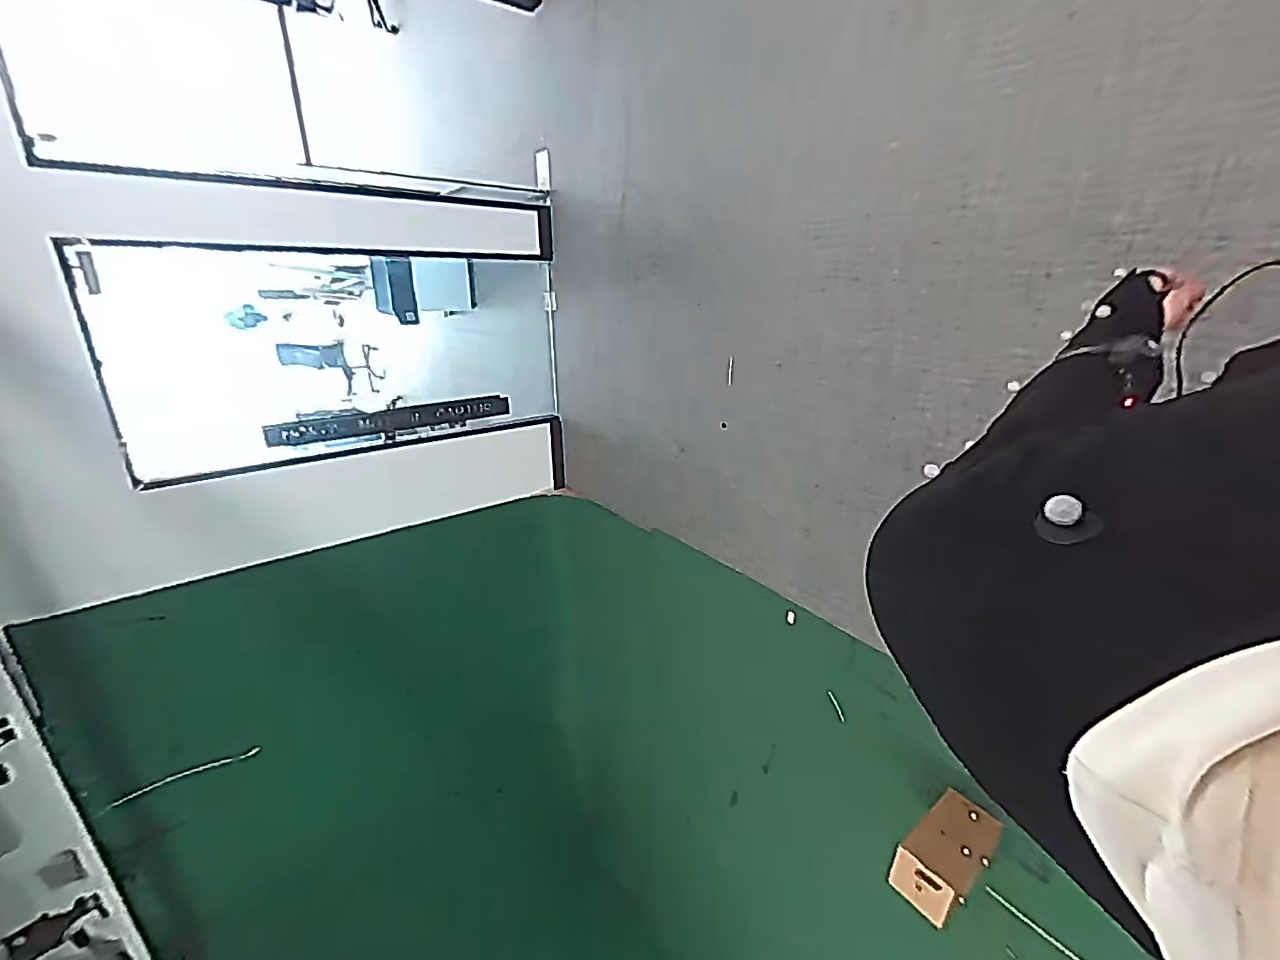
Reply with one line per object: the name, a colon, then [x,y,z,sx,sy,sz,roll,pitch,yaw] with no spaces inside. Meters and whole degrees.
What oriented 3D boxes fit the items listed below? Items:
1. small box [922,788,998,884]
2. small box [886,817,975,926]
small box: [1.014,1.145,1.737,0.168,0.176,0.179,27,122,47]
small box: [0.884,1.178,1.642,0.168,0.176,0.179,29,124,47]
